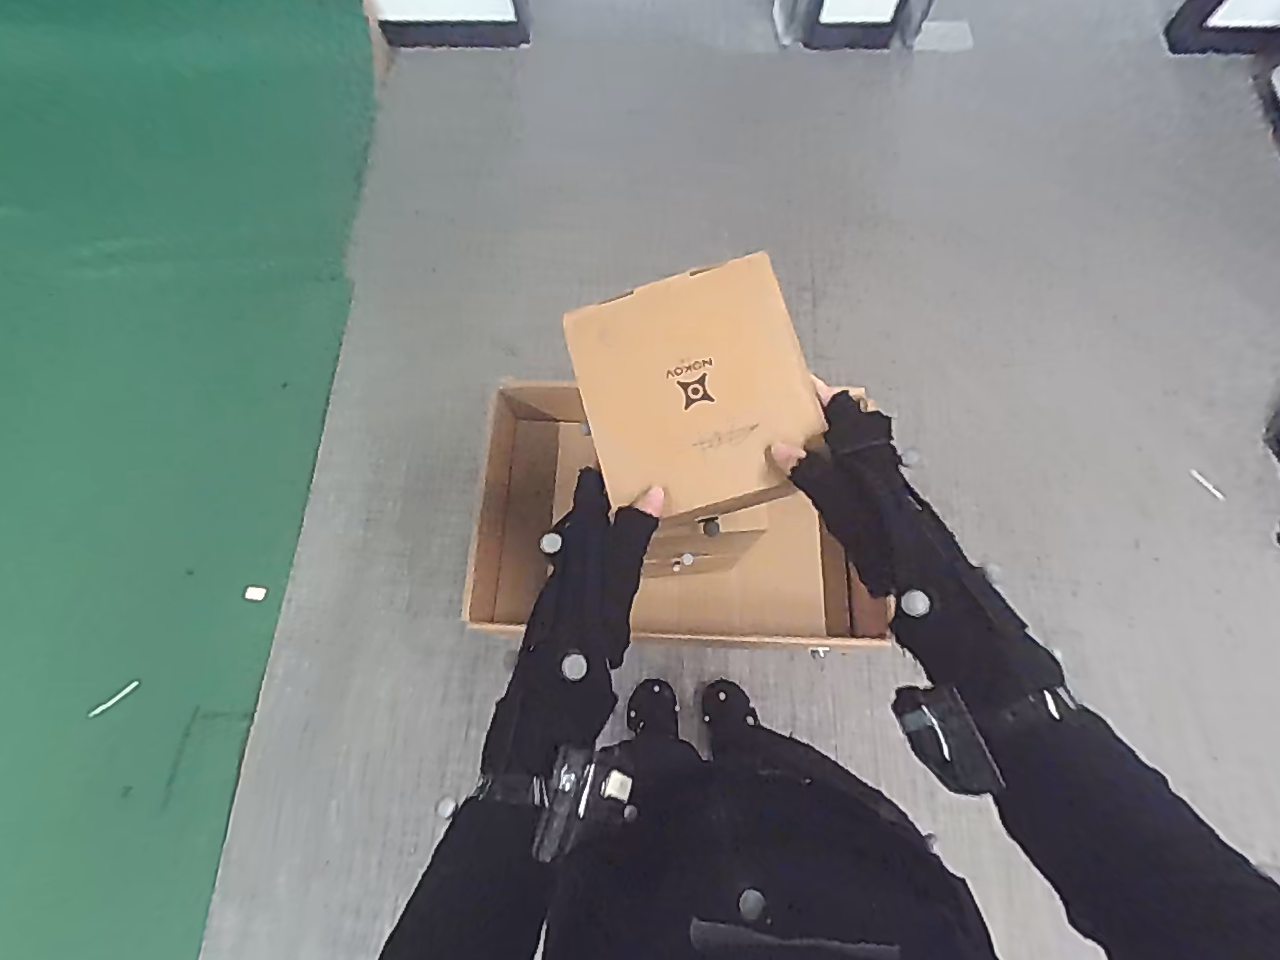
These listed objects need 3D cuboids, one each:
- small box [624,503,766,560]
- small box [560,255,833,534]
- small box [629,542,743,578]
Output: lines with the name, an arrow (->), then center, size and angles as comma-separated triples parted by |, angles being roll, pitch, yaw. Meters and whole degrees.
small box -> 0.061, 0.003, 0.718 | 0.168, 0.176, 0.179 | -4, 74, 1
small box -> 0.044, -0.057, 0.478 | 0.168, 0.176, 0.179 | -17, 82, 4
small box -> 0.065, 0.054, 0.874 | 0.168, 0.176, 0.179 | -5, 72, 1
